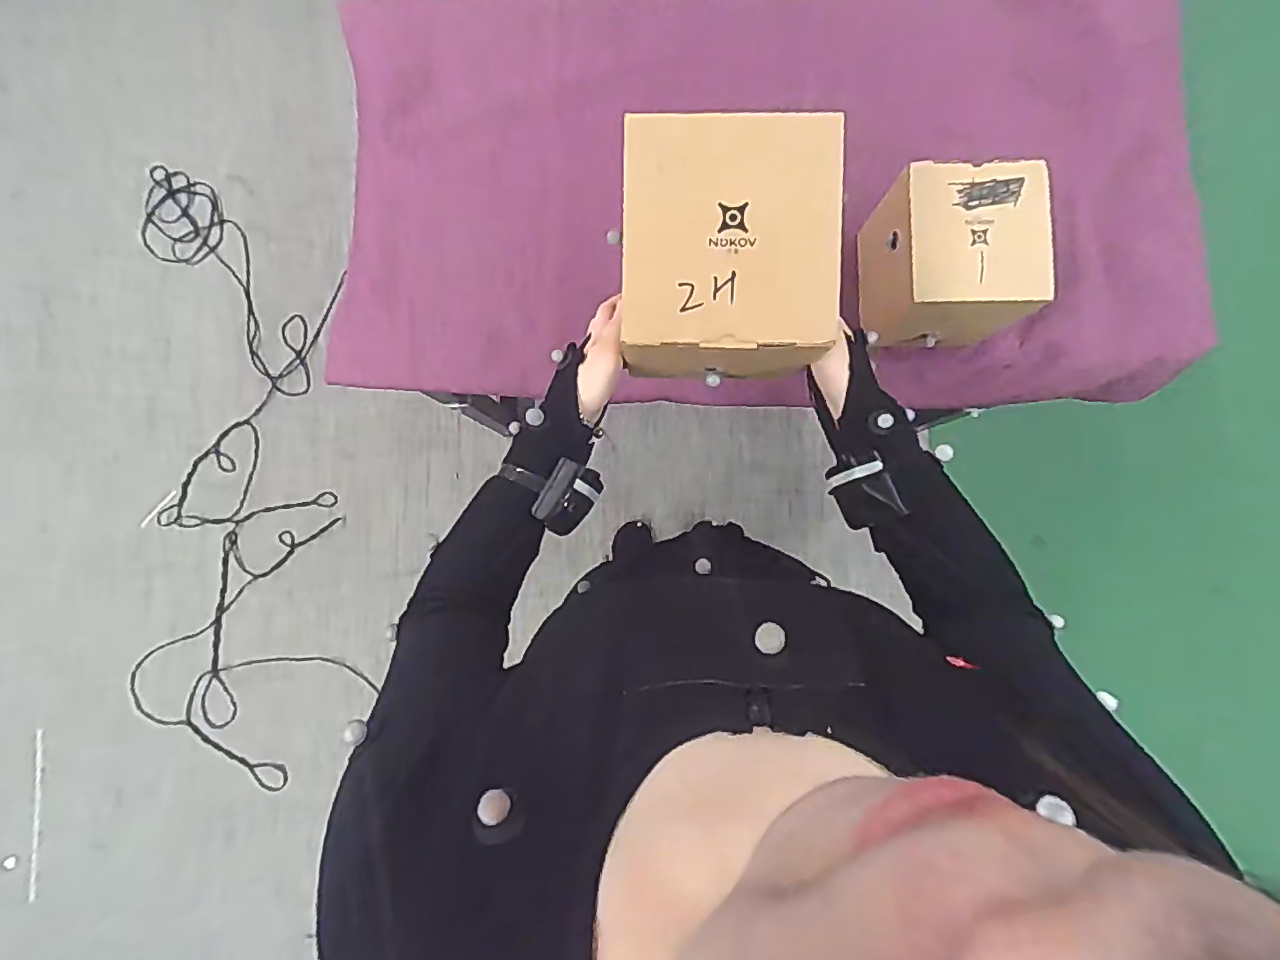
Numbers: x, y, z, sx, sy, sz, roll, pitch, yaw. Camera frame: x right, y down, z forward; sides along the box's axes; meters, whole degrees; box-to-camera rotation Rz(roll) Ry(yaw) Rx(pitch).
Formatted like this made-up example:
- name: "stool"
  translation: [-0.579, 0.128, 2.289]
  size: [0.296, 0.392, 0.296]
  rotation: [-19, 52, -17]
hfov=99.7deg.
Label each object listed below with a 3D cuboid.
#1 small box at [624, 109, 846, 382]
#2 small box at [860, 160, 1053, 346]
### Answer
- name: "small box"
  translation: [0.074, -0.191, 0.486]
  size: [0.168, 0.176, 0.179]
  rotation: [1, 91, 3]
- name: "small box"
  translation: [0.405, -0.291, 0.721]
  size: [0.168, 0.176, 0.179]
  rotation: [0, 86, 2]
